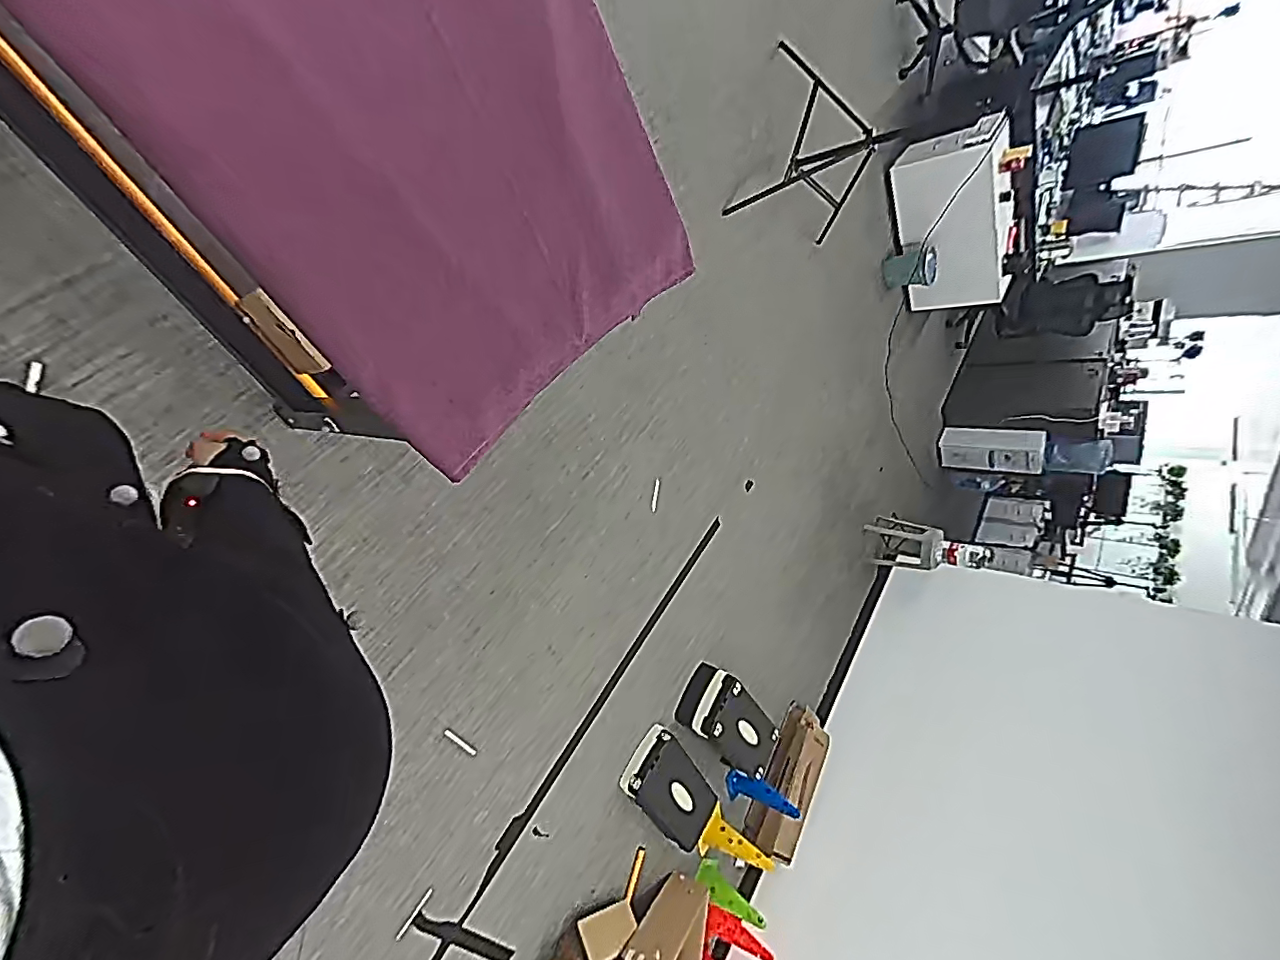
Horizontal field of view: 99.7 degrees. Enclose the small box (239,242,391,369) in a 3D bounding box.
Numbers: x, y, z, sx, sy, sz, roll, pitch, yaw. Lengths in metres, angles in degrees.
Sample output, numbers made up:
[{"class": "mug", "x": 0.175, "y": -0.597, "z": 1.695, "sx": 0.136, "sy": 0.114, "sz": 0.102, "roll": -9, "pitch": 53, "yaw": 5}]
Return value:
[{"class": "small box", "x": -0.631, "y": -0.329, "z": 1.043, "sx": 0.179, "sy": 0.176, "sz": 0.168, "roll": -51, "pitch": 129, "yaw": -30}]
